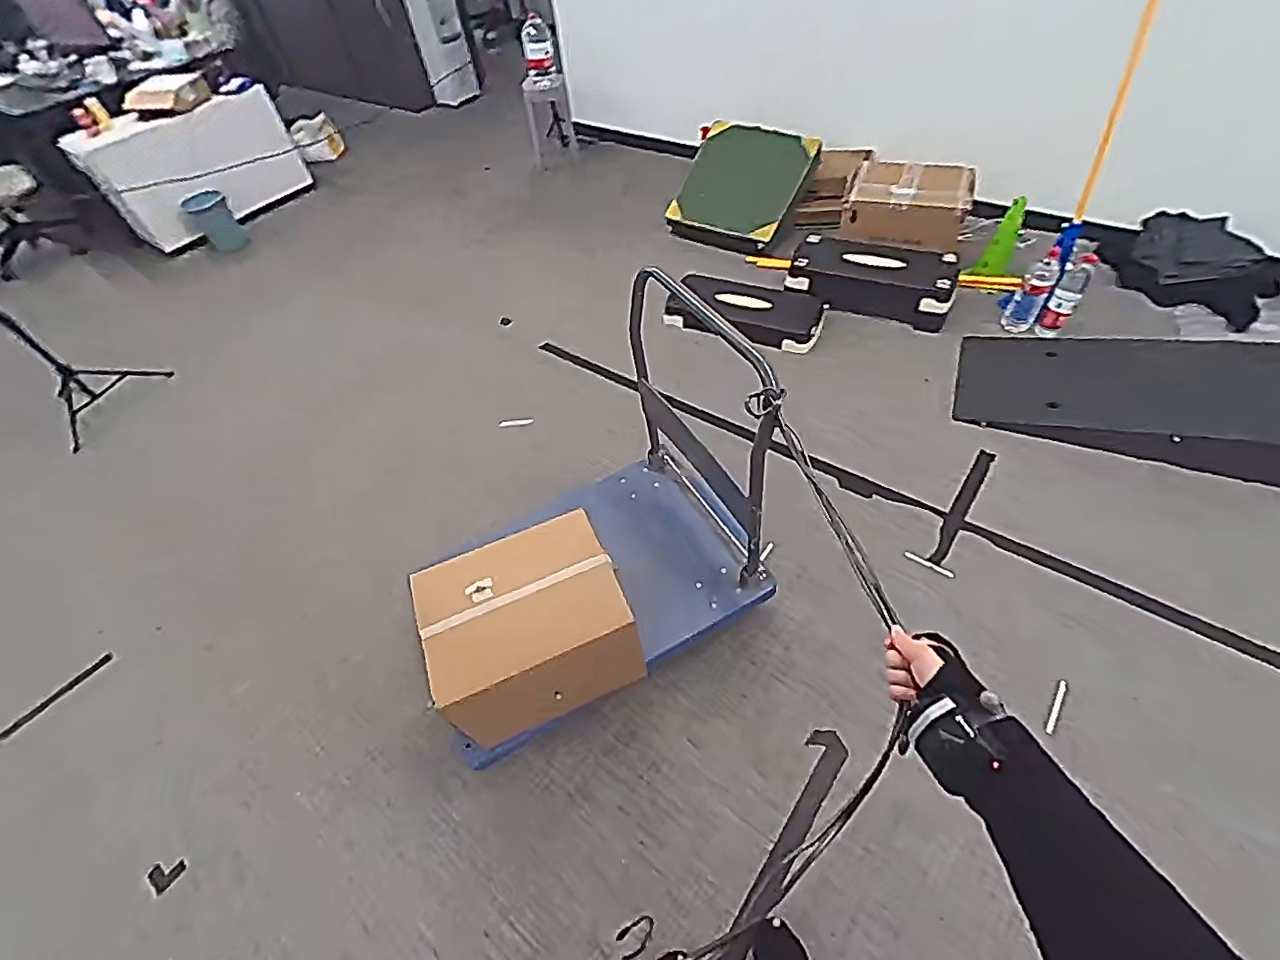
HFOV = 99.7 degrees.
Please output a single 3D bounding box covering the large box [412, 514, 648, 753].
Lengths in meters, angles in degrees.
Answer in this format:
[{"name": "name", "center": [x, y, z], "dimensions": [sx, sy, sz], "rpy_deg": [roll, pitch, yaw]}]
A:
[{"name": "large box", "center": [-0.233, 0.346, 1.221], "dimensions": [0.408, 0.320, 0.320], "rpy_deg": [-22, 51, -11]}]
